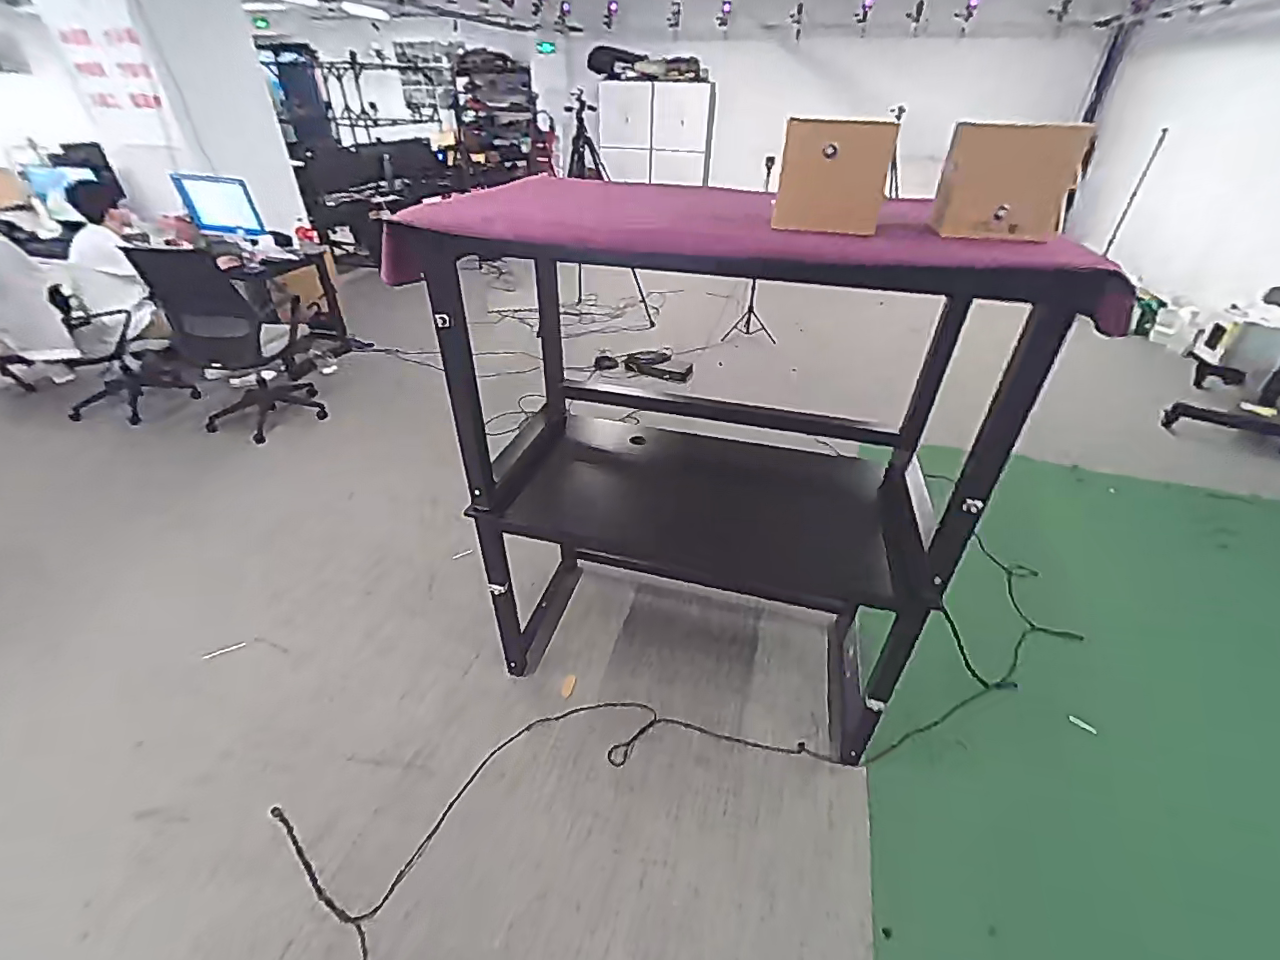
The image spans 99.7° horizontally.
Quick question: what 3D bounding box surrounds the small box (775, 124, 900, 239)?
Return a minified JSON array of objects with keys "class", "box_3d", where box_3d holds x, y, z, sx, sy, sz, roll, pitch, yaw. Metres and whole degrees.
[{"class":"small box","box_3d":[0.343,-0.535,0.969,0.179,0.176,0.168,10,35,12]}]
